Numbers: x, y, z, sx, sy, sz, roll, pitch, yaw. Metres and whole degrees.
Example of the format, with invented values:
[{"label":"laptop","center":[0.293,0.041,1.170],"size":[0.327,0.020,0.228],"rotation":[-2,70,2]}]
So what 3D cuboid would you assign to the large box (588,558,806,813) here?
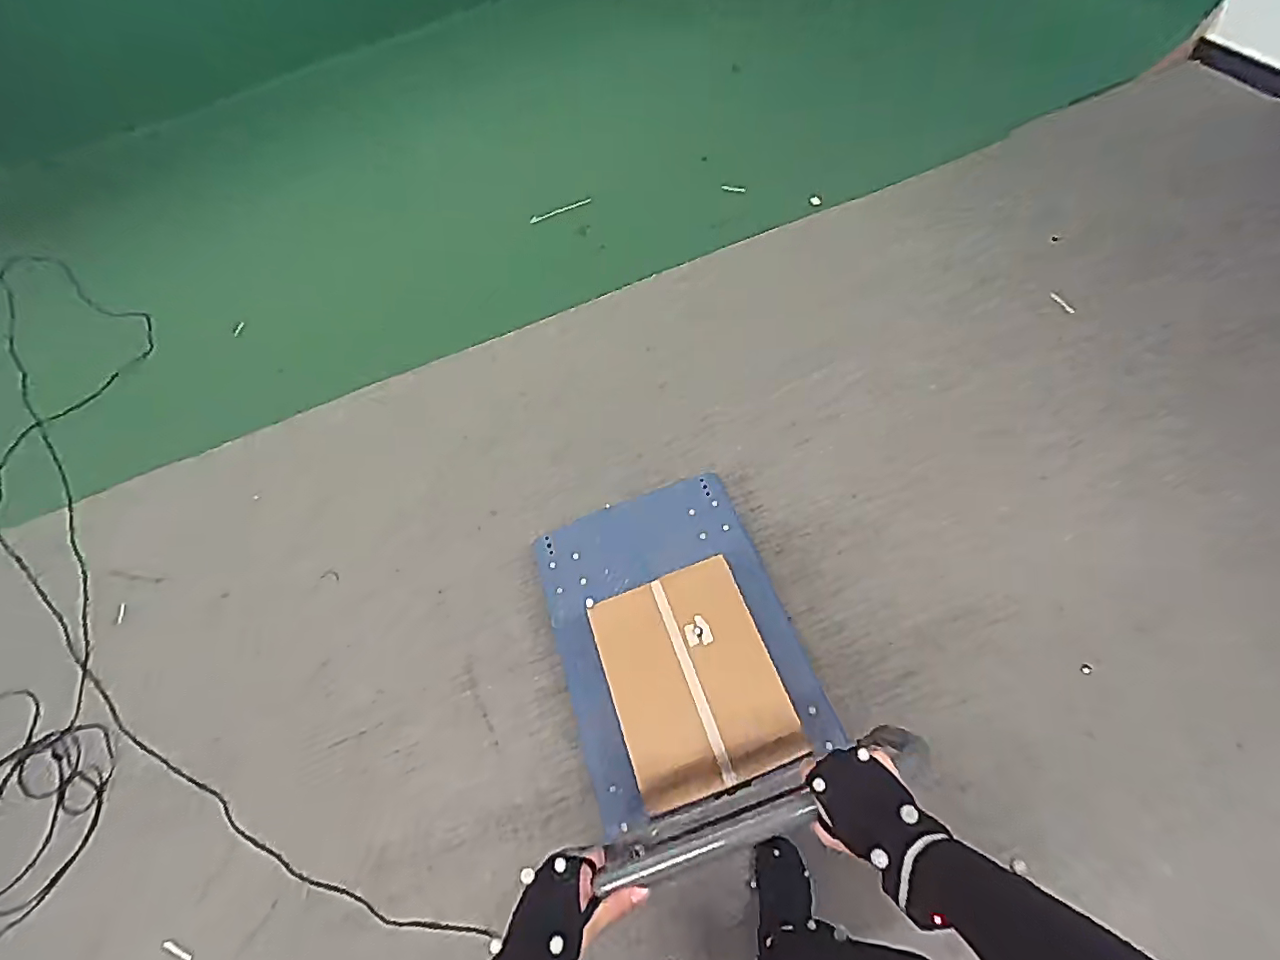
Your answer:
[{"label":"large box","center":[0.121,0.450,1.185],"size":[0.320,0.320,0.408],"rotation":[-21,59,-1]}]
